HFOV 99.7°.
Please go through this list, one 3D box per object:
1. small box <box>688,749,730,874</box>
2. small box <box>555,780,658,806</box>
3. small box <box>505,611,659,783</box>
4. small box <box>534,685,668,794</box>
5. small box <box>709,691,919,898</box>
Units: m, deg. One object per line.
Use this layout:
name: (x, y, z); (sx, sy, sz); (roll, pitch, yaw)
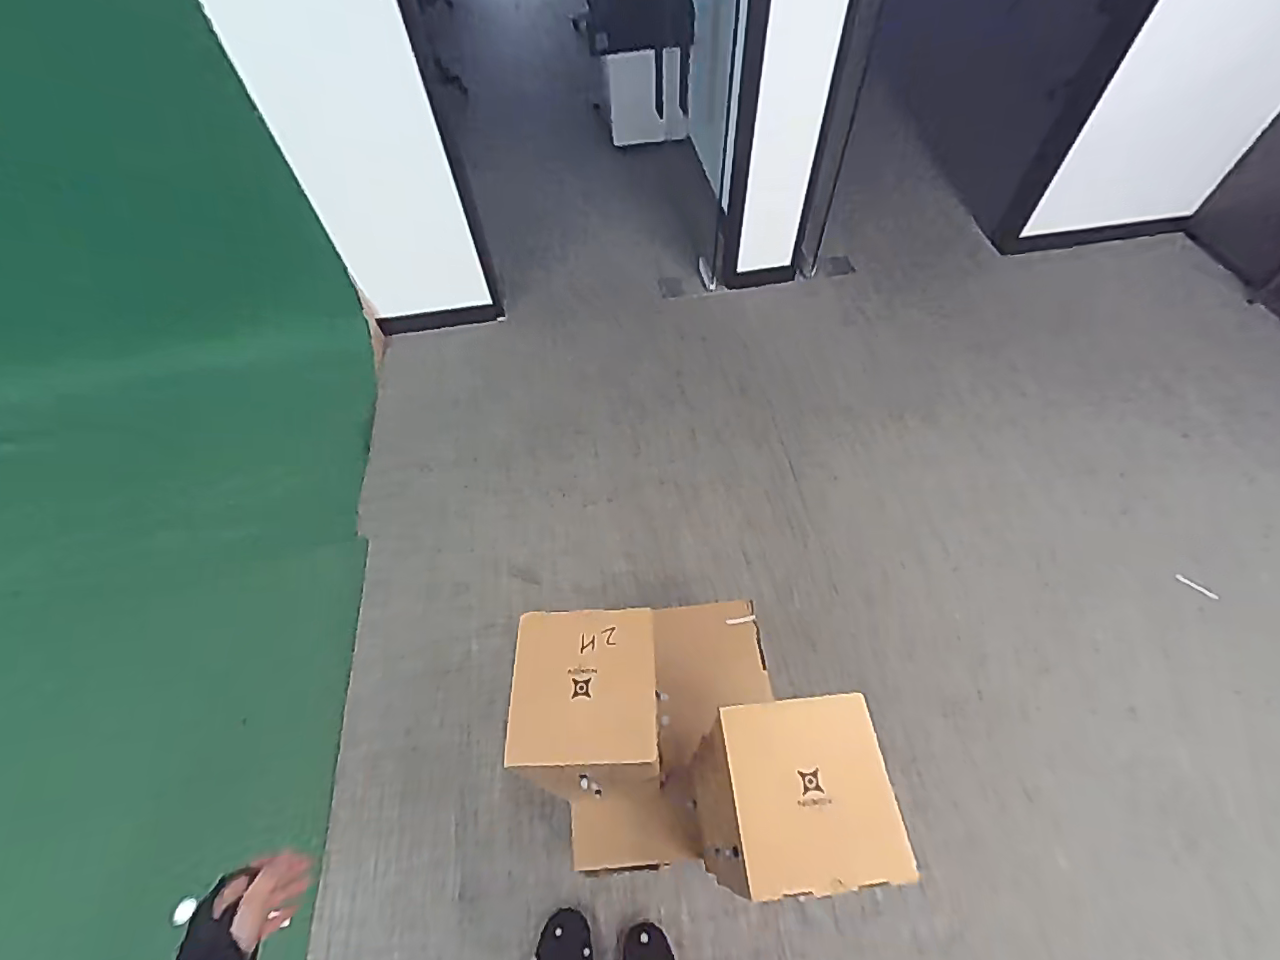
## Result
small box: (0.182, 0.541, 0.899); (0.179, 0.176, 0.168); (-8, 55, -2)
small box: (-0.059, 0.463, 0.963); (0.168, 0.176, 0.179); (-6, 54, -2)
small box: (-0.061, 0.281, 0.687); (0.168, 0.176, 0.179); (-2, 55, 1)
small box: (-0.057, 0.369, 0.824); (0.179, 0.176, 0.168); (-9, 55, 0)
small box: (0.179, 0.362, 0.624); (0.168, 0.176, 0.179); (-6, 55, -3)
